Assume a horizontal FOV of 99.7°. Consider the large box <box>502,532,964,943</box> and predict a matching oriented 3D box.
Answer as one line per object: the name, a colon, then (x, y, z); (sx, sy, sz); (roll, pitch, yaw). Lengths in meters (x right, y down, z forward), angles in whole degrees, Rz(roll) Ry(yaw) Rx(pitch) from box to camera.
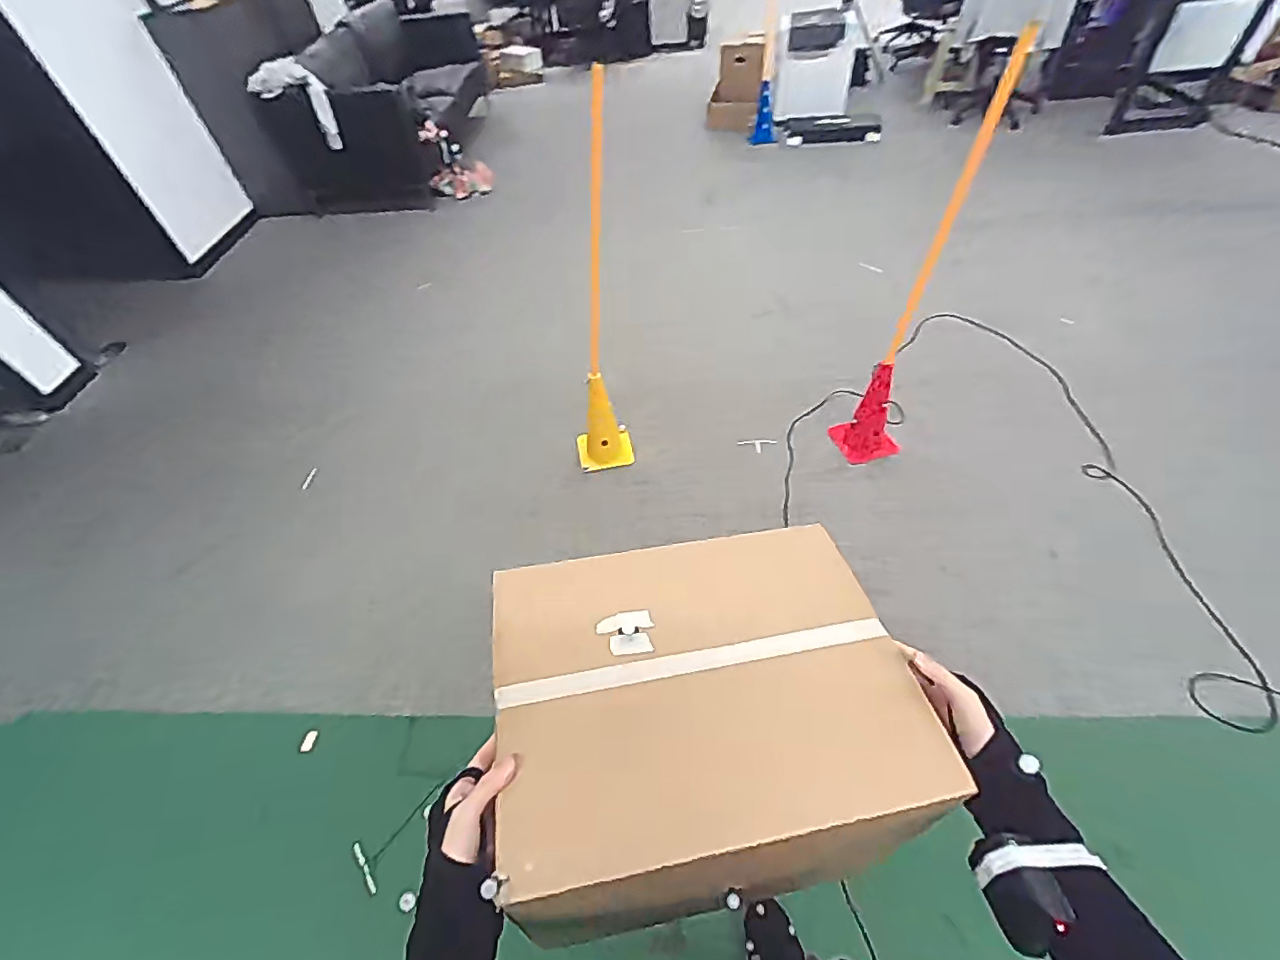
large box: (0.066, 0.303, 0.652); (0.408, 0.320, 0.320); (-8, 44, -8)
